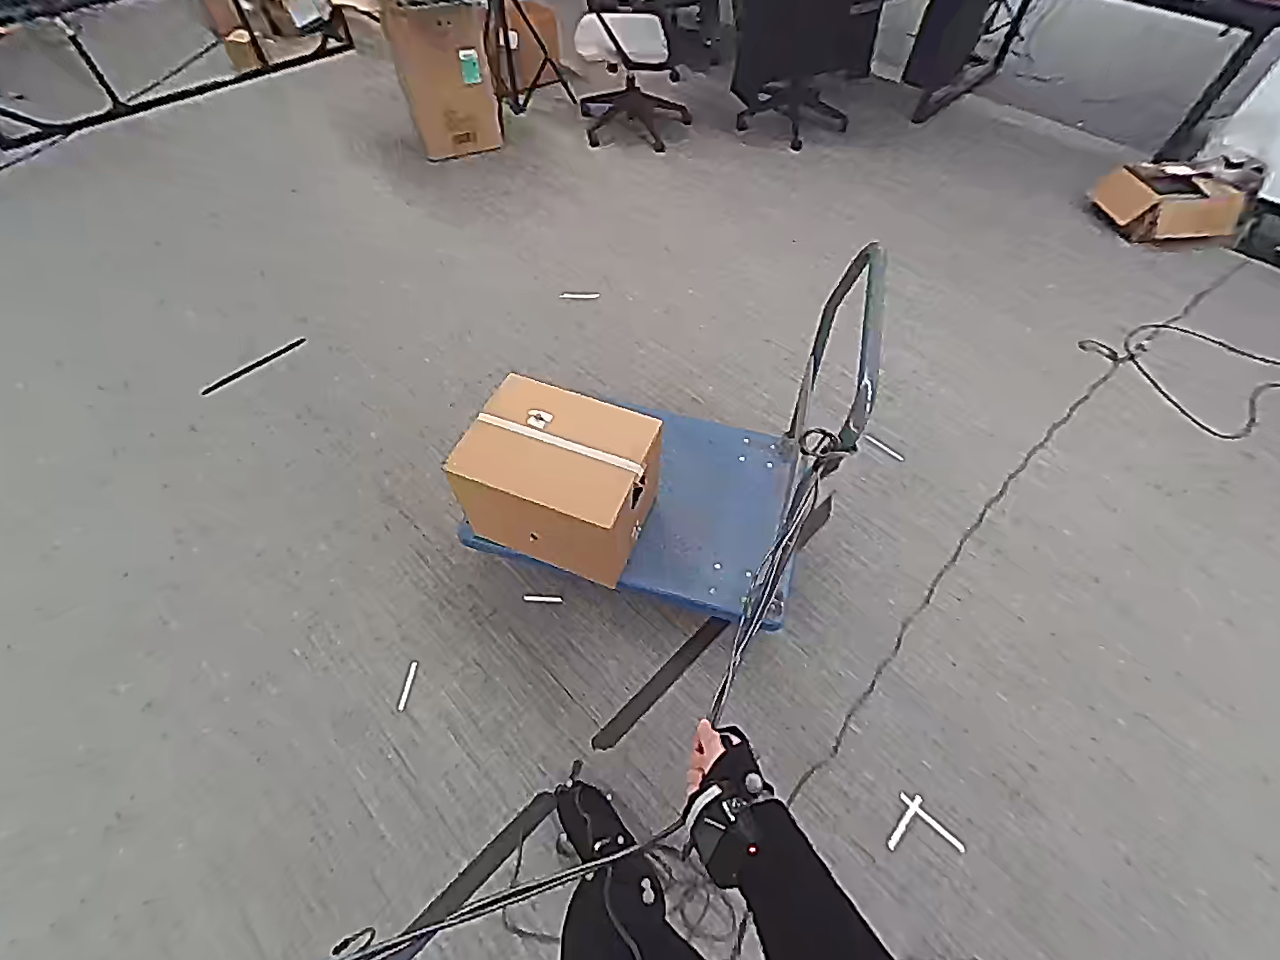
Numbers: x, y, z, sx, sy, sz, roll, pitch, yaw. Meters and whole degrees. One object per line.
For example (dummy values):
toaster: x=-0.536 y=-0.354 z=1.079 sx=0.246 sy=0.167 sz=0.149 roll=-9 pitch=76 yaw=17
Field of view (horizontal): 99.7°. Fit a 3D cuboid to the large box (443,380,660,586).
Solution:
large box: x=-0.188 y=0.012 z=1.328 sx=0.408 sy=0.320 sz=0.320 roll=18 pitch=57 yaw=12
